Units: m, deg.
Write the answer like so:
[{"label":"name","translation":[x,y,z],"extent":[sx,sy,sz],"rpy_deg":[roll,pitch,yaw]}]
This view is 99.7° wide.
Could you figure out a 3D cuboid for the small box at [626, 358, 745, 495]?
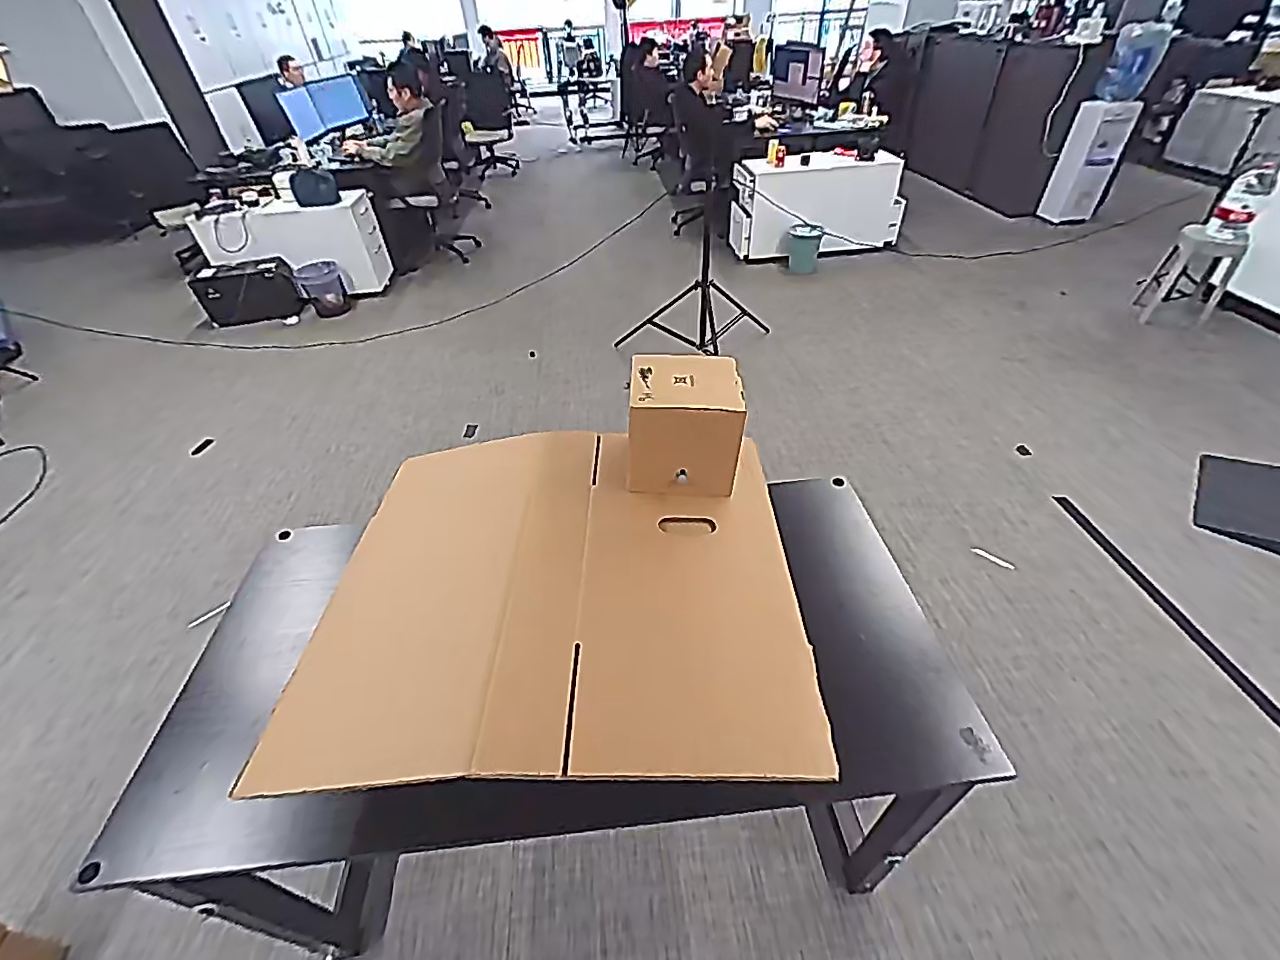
[{"label":"small box","translation":[0.069,-0.088,0.912],"extent":[0.179,0.176,0.168],"rpy_deg":[2,39,-1]}]

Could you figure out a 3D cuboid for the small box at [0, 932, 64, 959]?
[{"label":"small box","translation":[-1.335,1.047,1.083],"extent":[0.168,0.176,0.179],"rpy_deg":[-8,42,-5]}]
